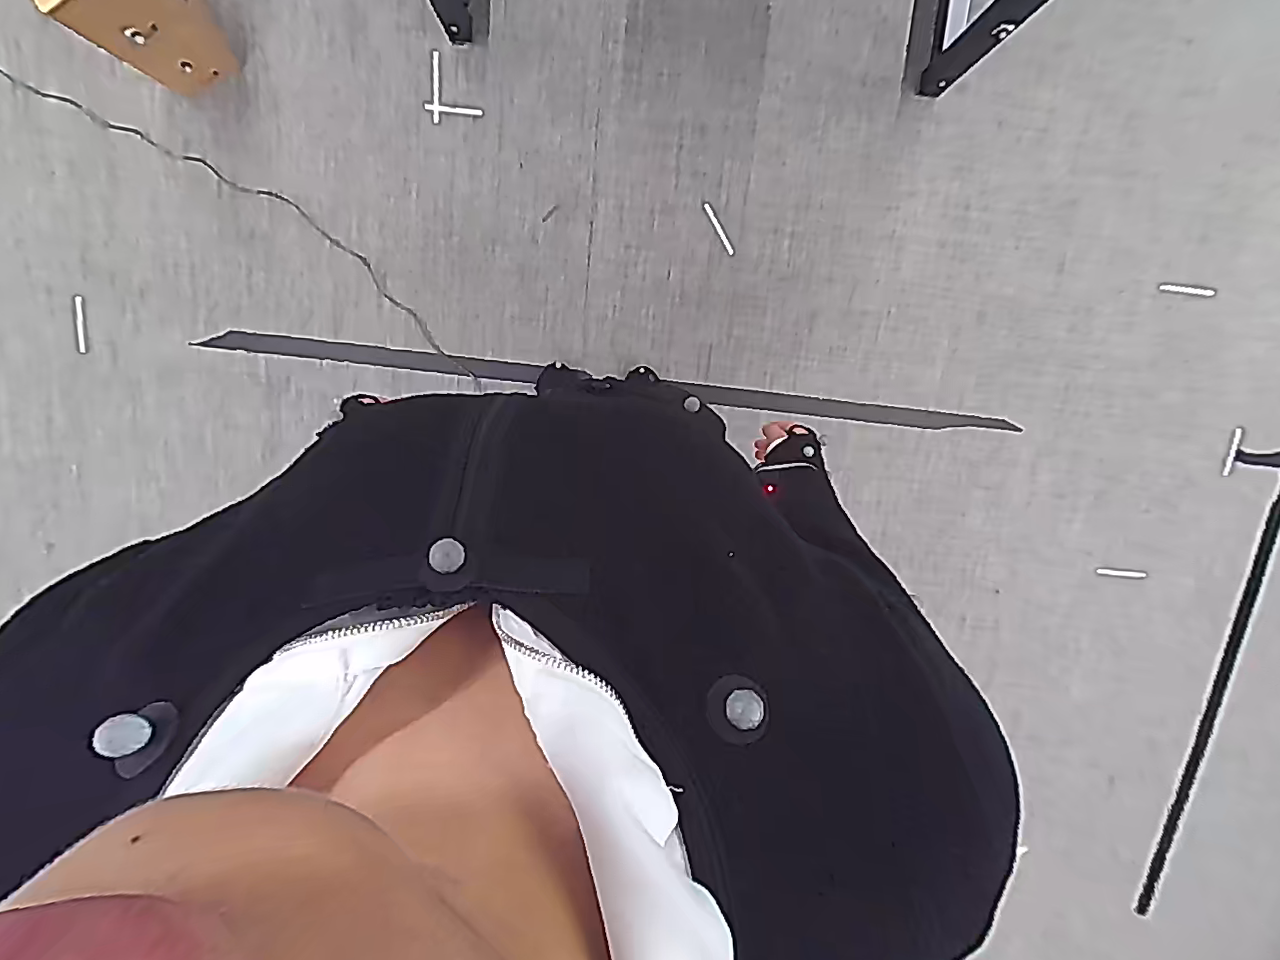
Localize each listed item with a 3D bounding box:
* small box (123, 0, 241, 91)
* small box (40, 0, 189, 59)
[{"bbox_3d":[-1.031,-0.994,1.178,0.168,0.176,0.179,-27,101,2],"label":"small box"},{"bbox_3d":[-1.027,-0.958,1.018,0.168,0.176,0.179,-31,102,5],"label":"small box"}]
